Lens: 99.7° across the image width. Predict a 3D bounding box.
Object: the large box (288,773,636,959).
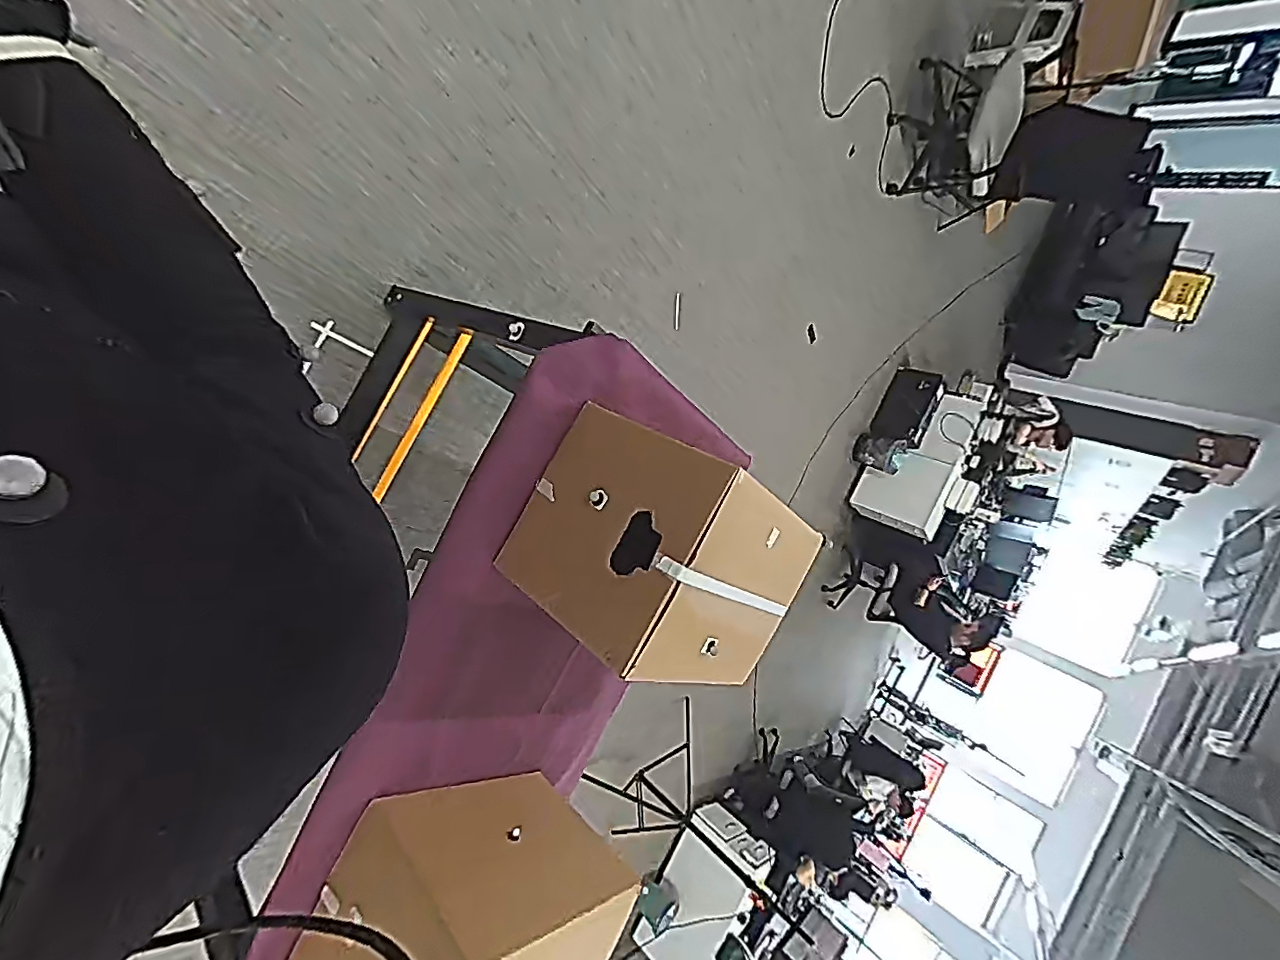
[{"bbox_3d":[-0.283,0.744,0.896,0.408,0.320,0.320,31,86,-54],"label":"large box"}]
